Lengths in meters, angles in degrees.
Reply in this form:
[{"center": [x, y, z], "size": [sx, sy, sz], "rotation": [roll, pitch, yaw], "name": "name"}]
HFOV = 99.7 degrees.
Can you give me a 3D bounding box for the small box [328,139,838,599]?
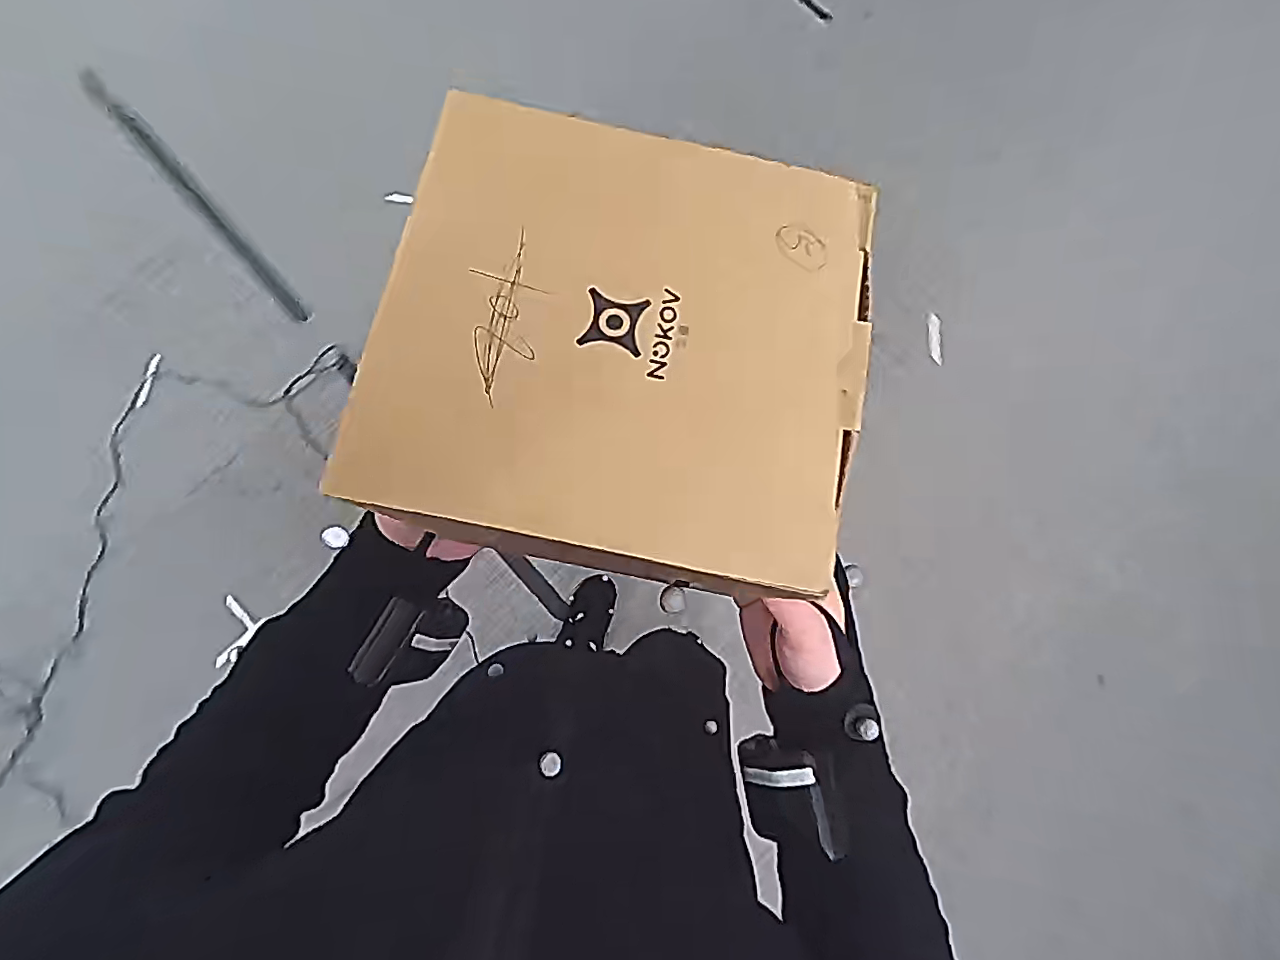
[{"center": [-0.018, -0.034, 0.290], "size": [0.179, 0.176, 0.168], "rotation": [10, 77, -1], "name": "small box"}]
